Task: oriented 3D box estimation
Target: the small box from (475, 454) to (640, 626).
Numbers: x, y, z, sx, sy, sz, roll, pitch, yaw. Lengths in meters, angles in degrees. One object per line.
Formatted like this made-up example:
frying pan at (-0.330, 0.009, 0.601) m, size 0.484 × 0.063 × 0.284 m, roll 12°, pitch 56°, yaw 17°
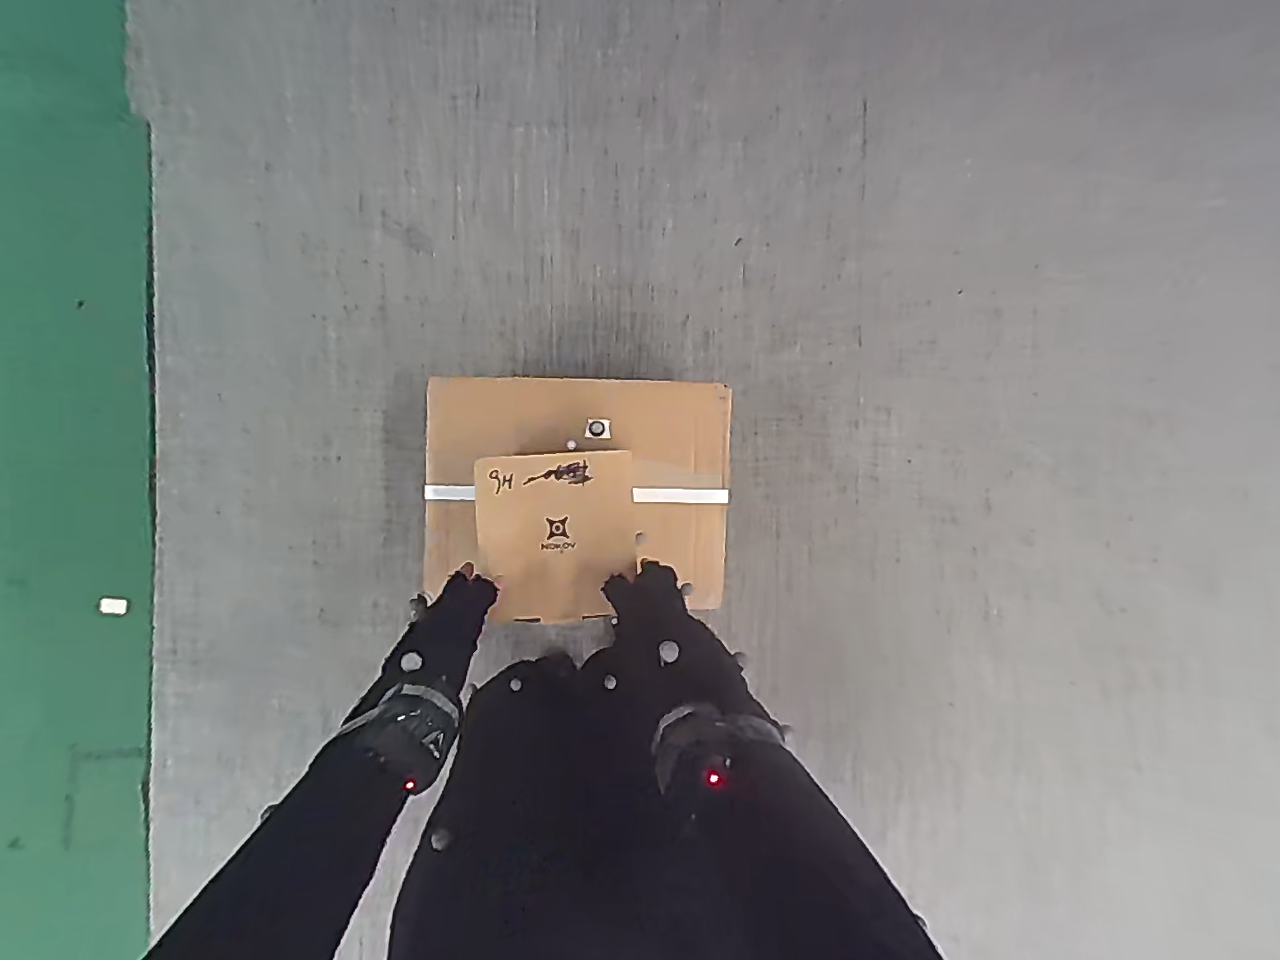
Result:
small box at (-0.085, 0.060, 0.642) m, size 0.168 × 0.176 × 0.179 m, roll -3°, pitch 92°, yaw 0°
